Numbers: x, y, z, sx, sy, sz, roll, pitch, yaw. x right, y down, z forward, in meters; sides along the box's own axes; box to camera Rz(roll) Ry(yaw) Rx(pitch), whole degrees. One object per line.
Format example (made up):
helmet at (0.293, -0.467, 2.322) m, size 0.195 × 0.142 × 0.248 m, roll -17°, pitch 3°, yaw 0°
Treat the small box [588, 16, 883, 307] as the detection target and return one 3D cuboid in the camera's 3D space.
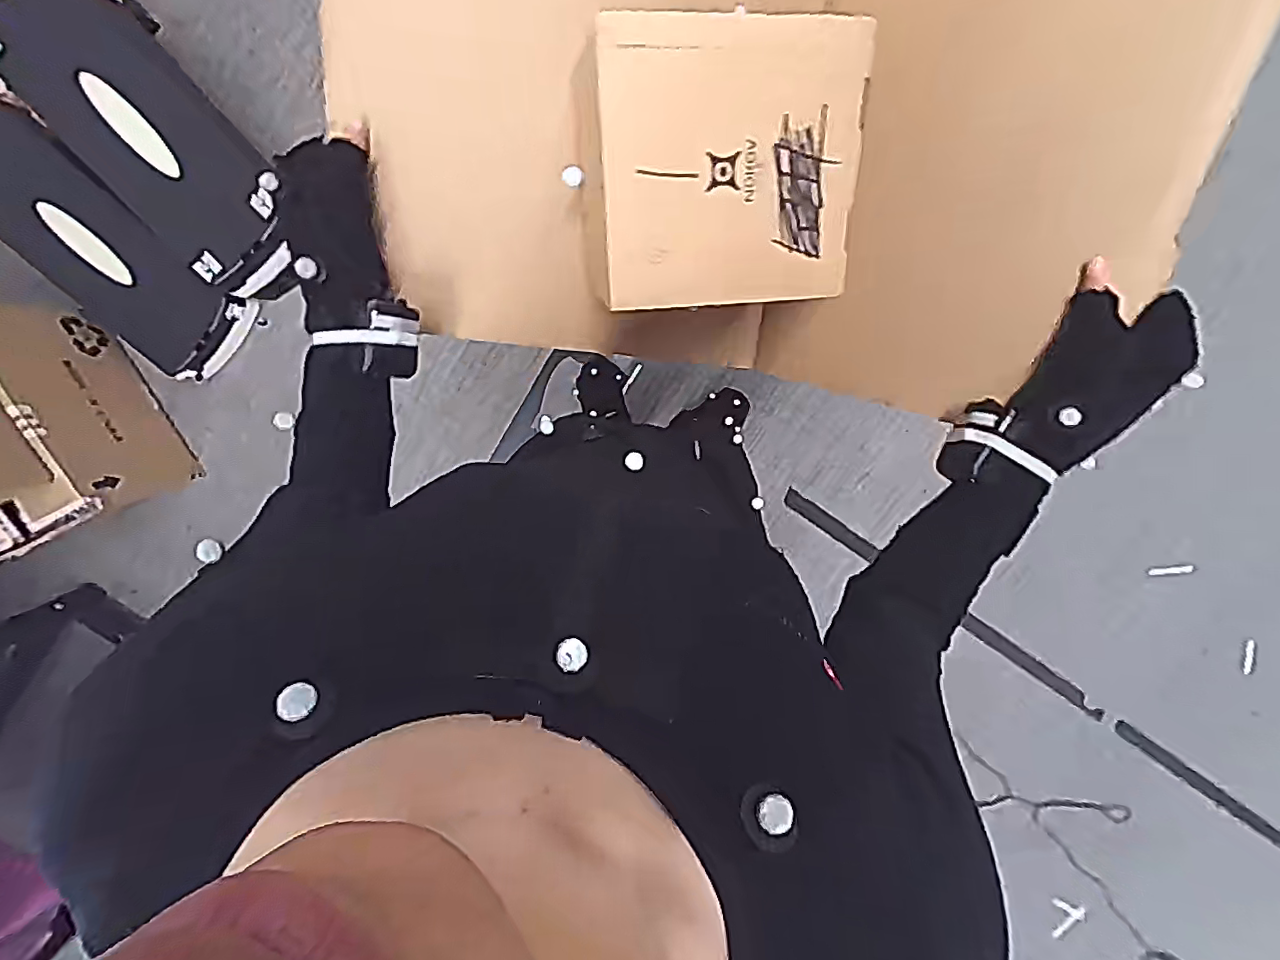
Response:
small box at (0.055, -0.238, 0.432) m, size 0.179 × 0.176 × 0.168 m, roll -5°, pitch 116°, yaw -8°
